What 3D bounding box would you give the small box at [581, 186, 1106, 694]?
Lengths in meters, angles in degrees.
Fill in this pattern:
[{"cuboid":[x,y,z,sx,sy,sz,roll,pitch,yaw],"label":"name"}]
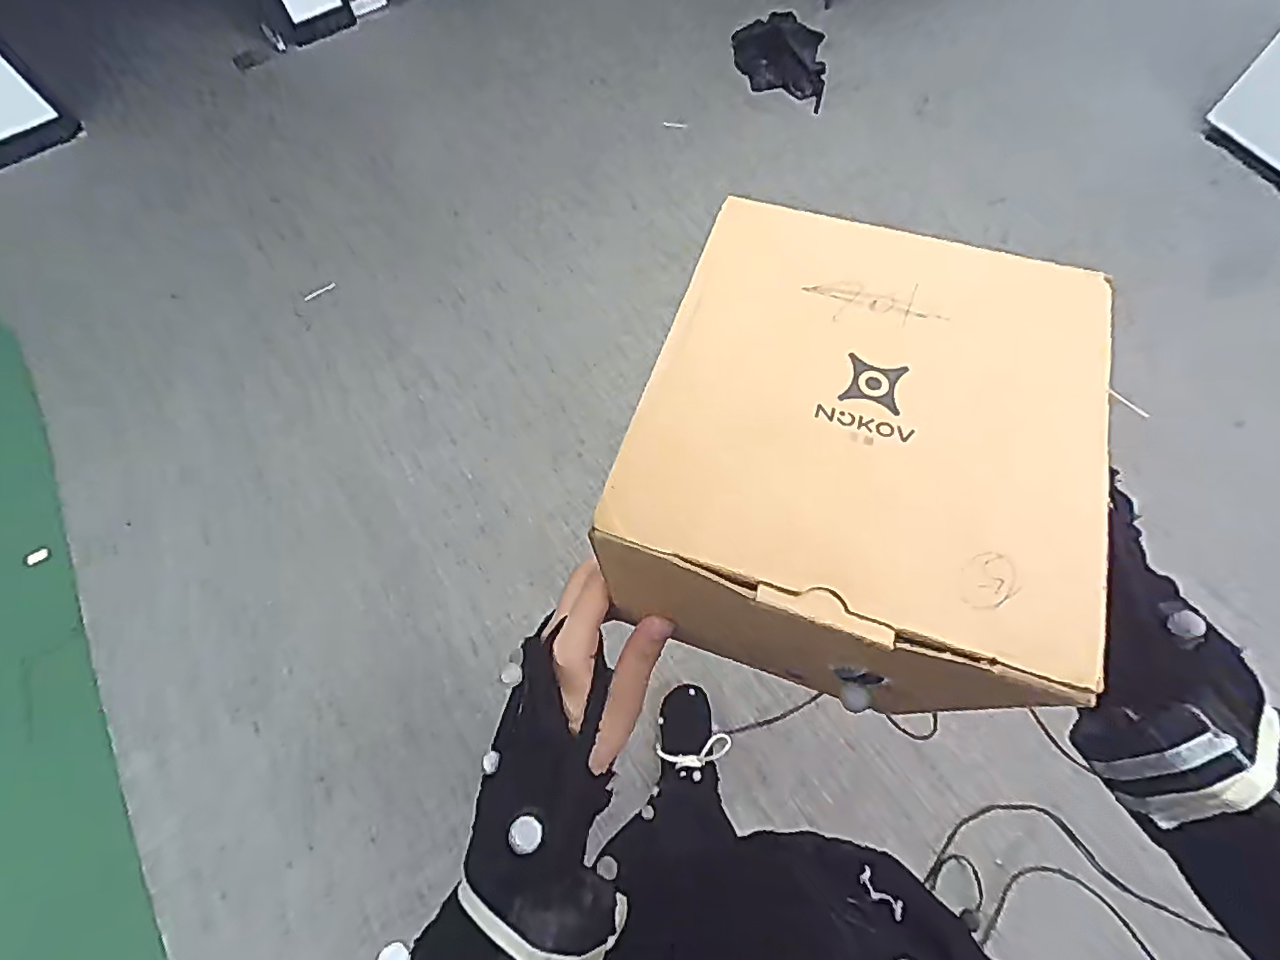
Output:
[{"cuboid":[0.086,-0.004,0.276,0.168,0.176,0.179,18,67,9],"label":"small box"}]
